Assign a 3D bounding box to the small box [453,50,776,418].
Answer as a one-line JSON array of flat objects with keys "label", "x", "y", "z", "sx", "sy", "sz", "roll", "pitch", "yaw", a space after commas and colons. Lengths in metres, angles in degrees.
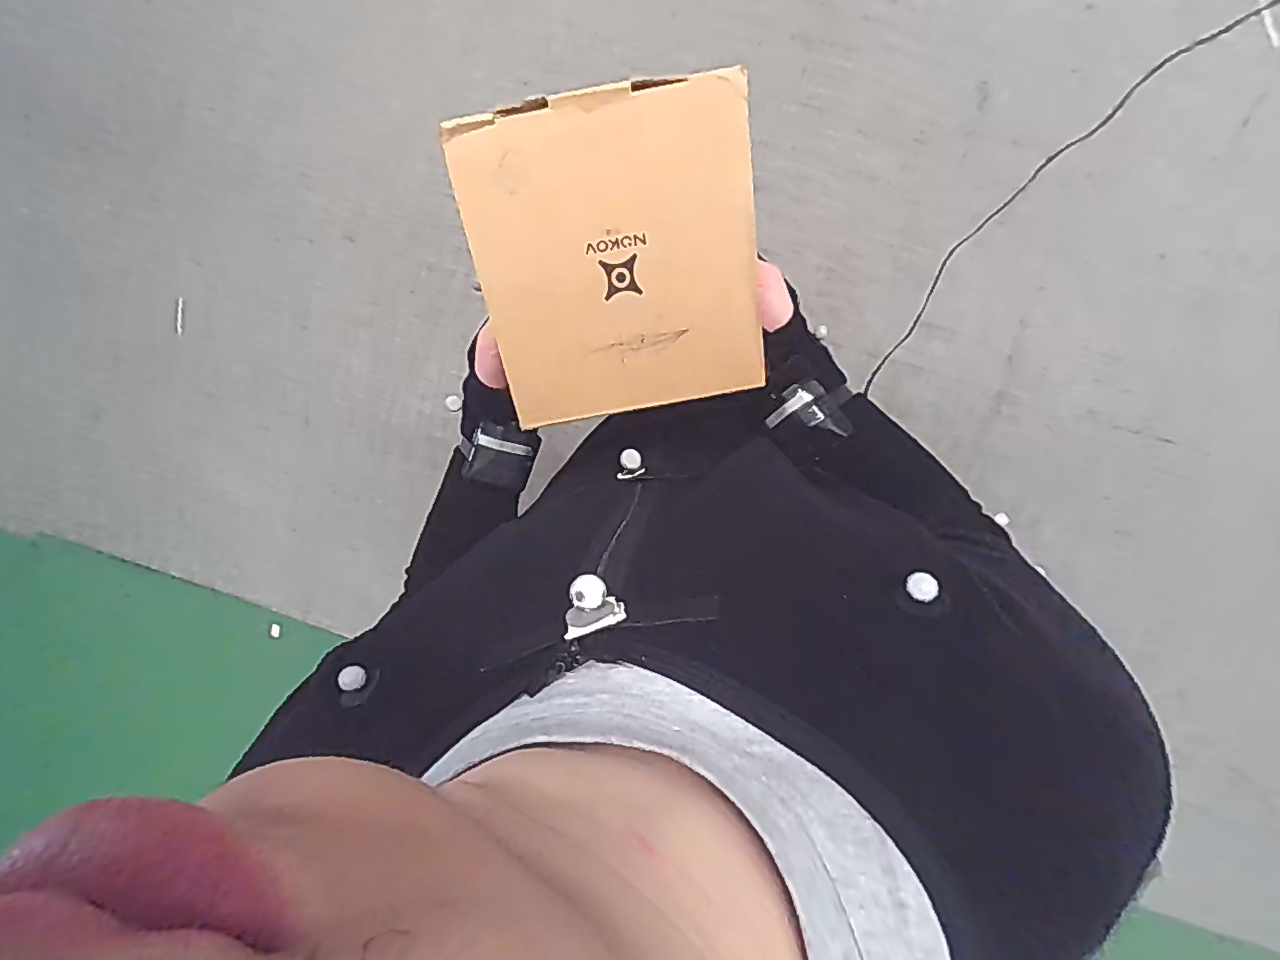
[{"label": "small box", "x": -0.011, "y": -0.165, "z": 0.385, "sx": 0.168, "sy": 0.176, "sz": 0.179, "roll": -10, "pitch": 117, "yaw": 1}]
